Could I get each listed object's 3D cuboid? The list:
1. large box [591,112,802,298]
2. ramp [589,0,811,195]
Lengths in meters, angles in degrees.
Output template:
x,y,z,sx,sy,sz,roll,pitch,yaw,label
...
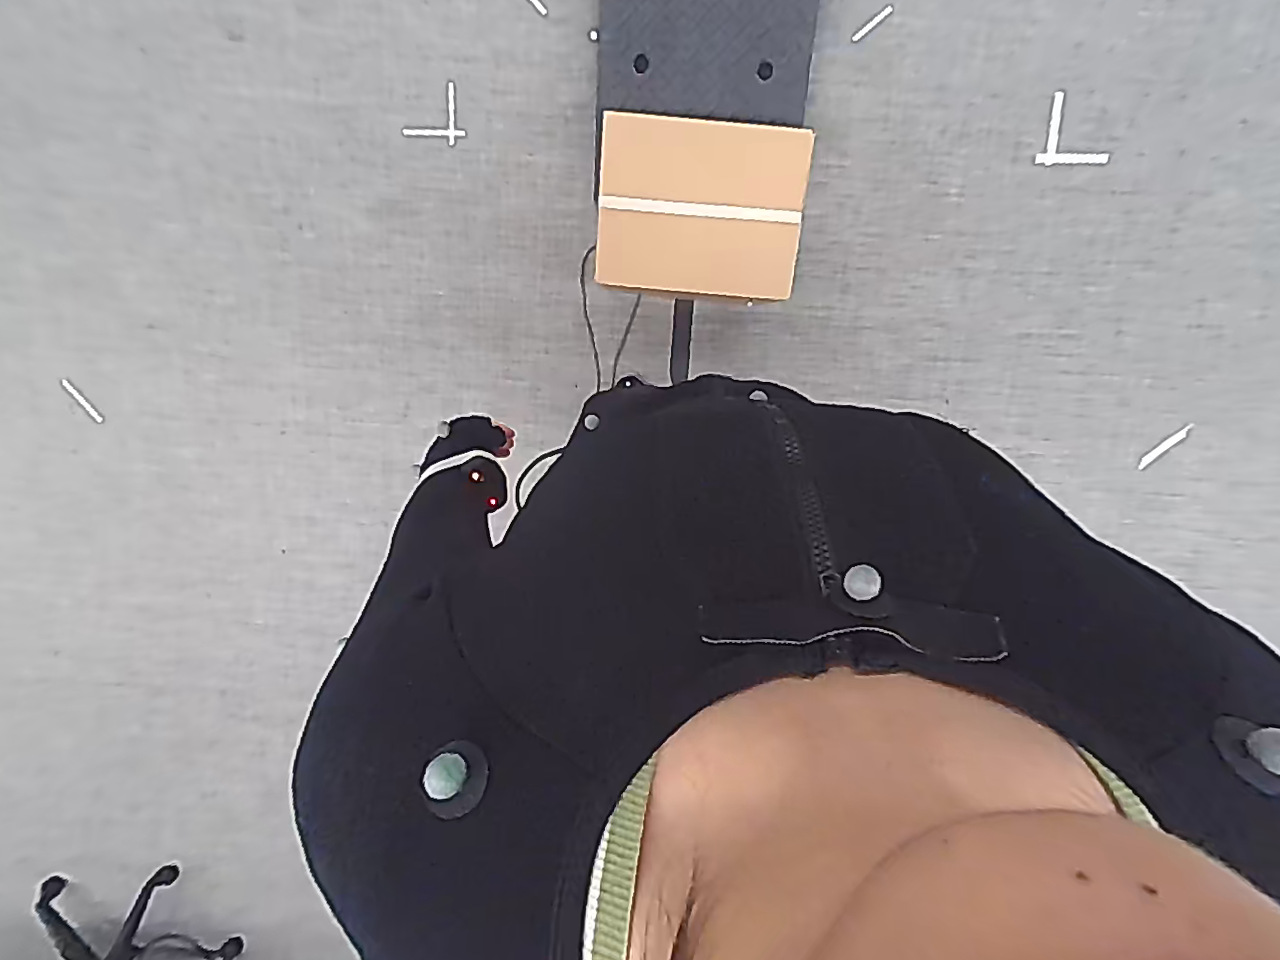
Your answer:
x,y,z,sx,sy,sz,roll,pitch,yaw,label
0.108,-0.586,1.218,0.408,0.320,0.320,5,106,-1,large box
0.143,-1.157,1.167,0.509,0.206,0.991,1,102,-2,ramp
